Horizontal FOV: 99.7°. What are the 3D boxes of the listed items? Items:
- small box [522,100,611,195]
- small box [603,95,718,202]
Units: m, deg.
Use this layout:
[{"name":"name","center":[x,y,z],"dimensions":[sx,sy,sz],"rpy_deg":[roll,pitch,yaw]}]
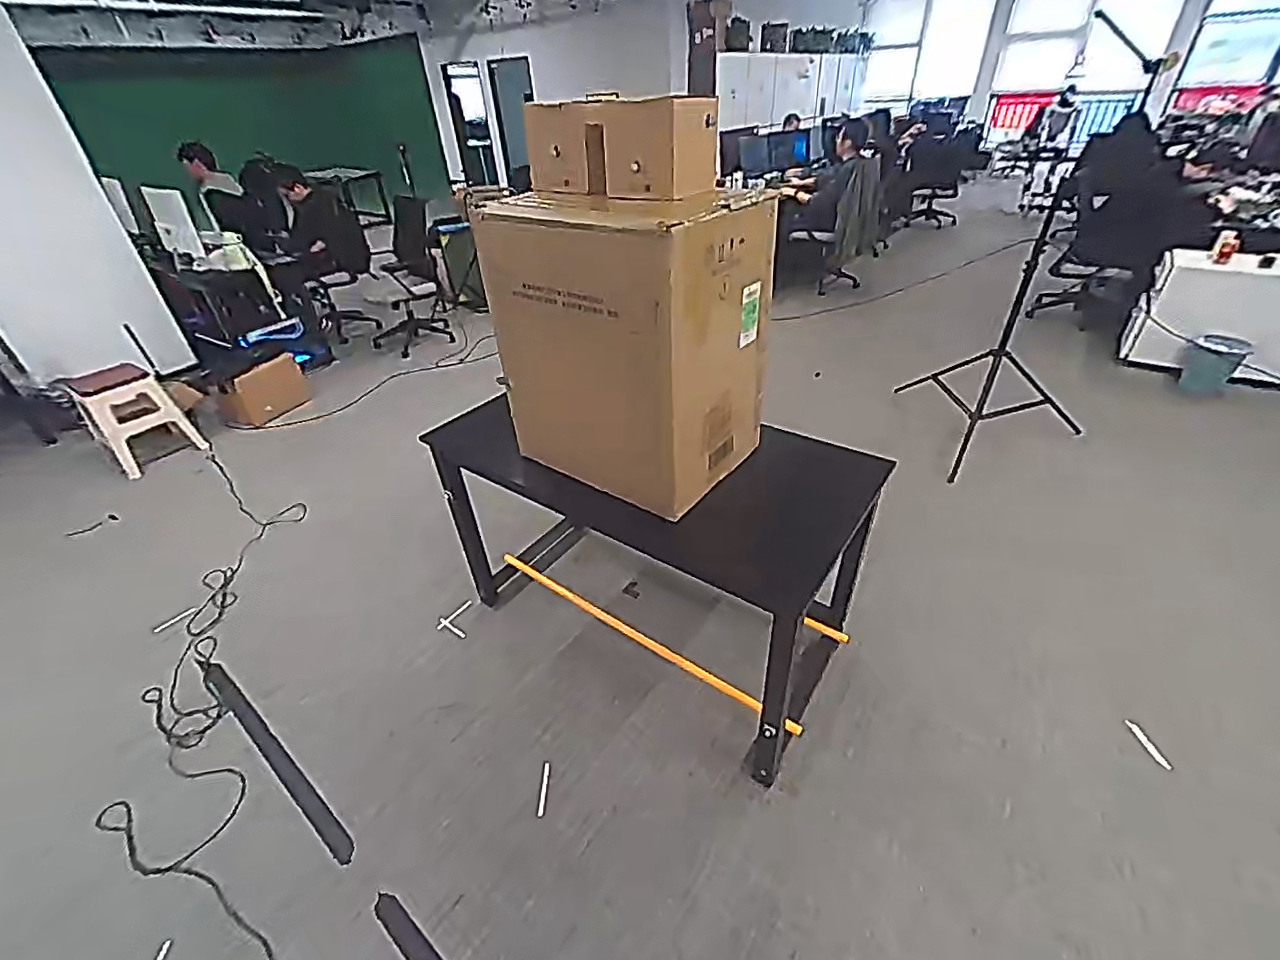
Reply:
[{"name":"small box","center":[-0.136,-0.747,1.215],"dimensions":[0.168,0.176,0.179],"rpy_deg":[19,41,27]},{"name":"small box","center":[0.042,-0.672,1.094],"dimensions":[0.168,0.176,0.179],"rpy_deg":[19,40,29]}]
